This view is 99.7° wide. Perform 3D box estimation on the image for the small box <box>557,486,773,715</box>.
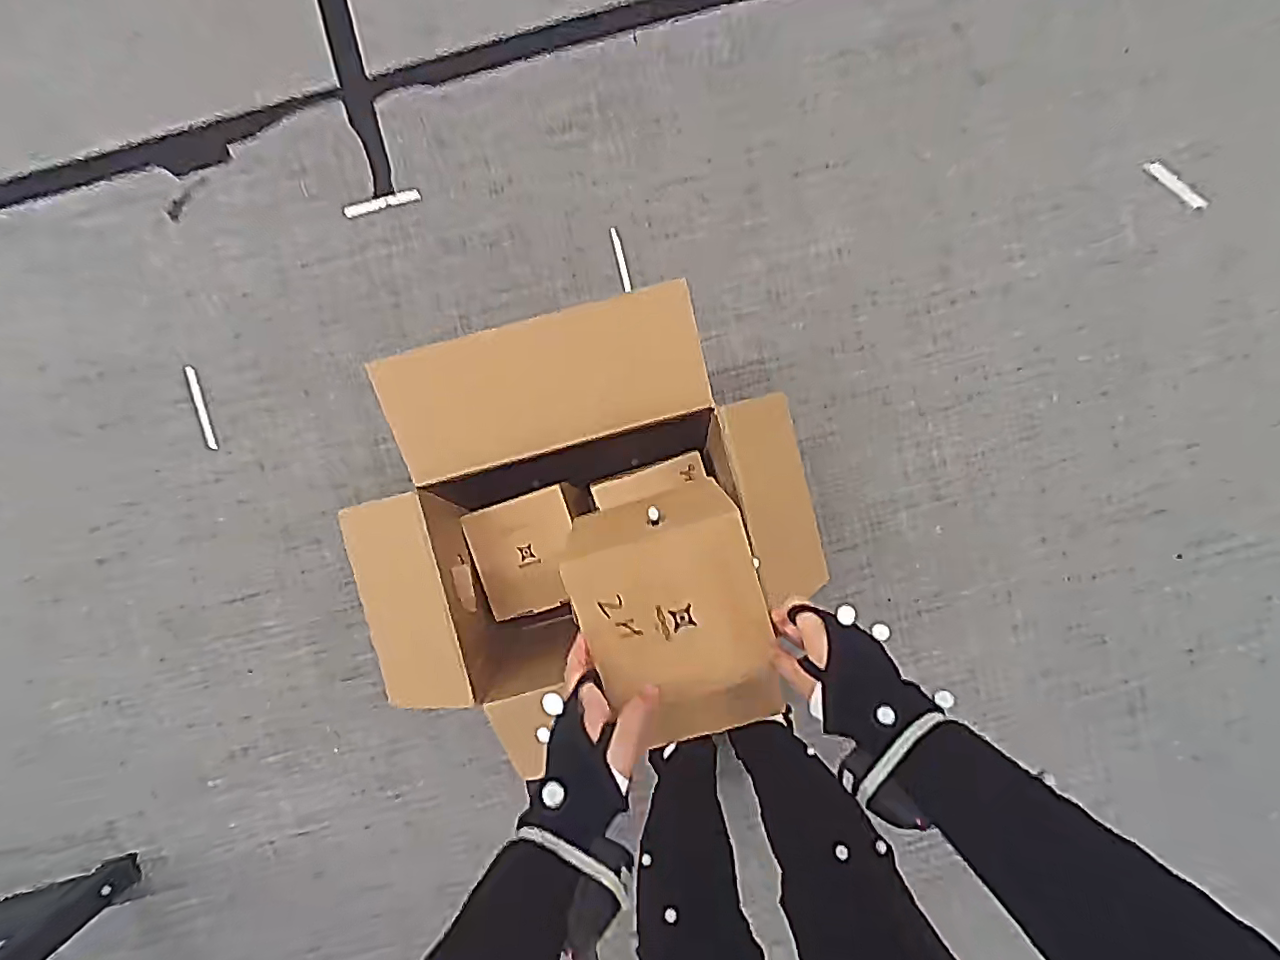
[{"bbox_3d":[0.024,0.116,0.592,0.179,0.176,0.168,-17,101,3],"label":"small box"}]
